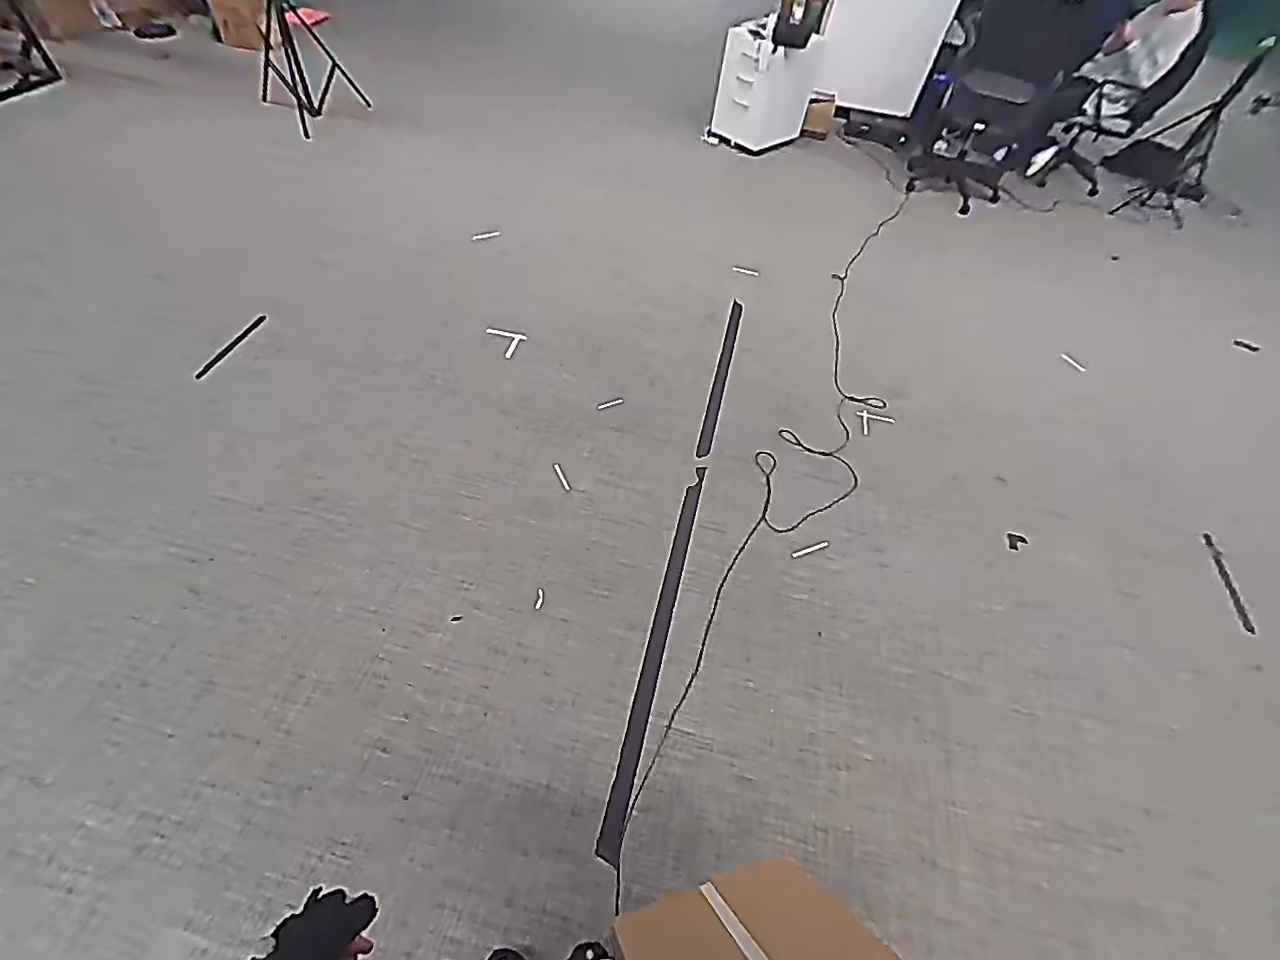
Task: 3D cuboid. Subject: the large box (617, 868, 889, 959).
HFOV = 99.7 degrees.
[{"bbox_3d":[0.181,0.775,0.656,0.320,0.408,0.320,-7,81,-16],"label":"large box"}]
